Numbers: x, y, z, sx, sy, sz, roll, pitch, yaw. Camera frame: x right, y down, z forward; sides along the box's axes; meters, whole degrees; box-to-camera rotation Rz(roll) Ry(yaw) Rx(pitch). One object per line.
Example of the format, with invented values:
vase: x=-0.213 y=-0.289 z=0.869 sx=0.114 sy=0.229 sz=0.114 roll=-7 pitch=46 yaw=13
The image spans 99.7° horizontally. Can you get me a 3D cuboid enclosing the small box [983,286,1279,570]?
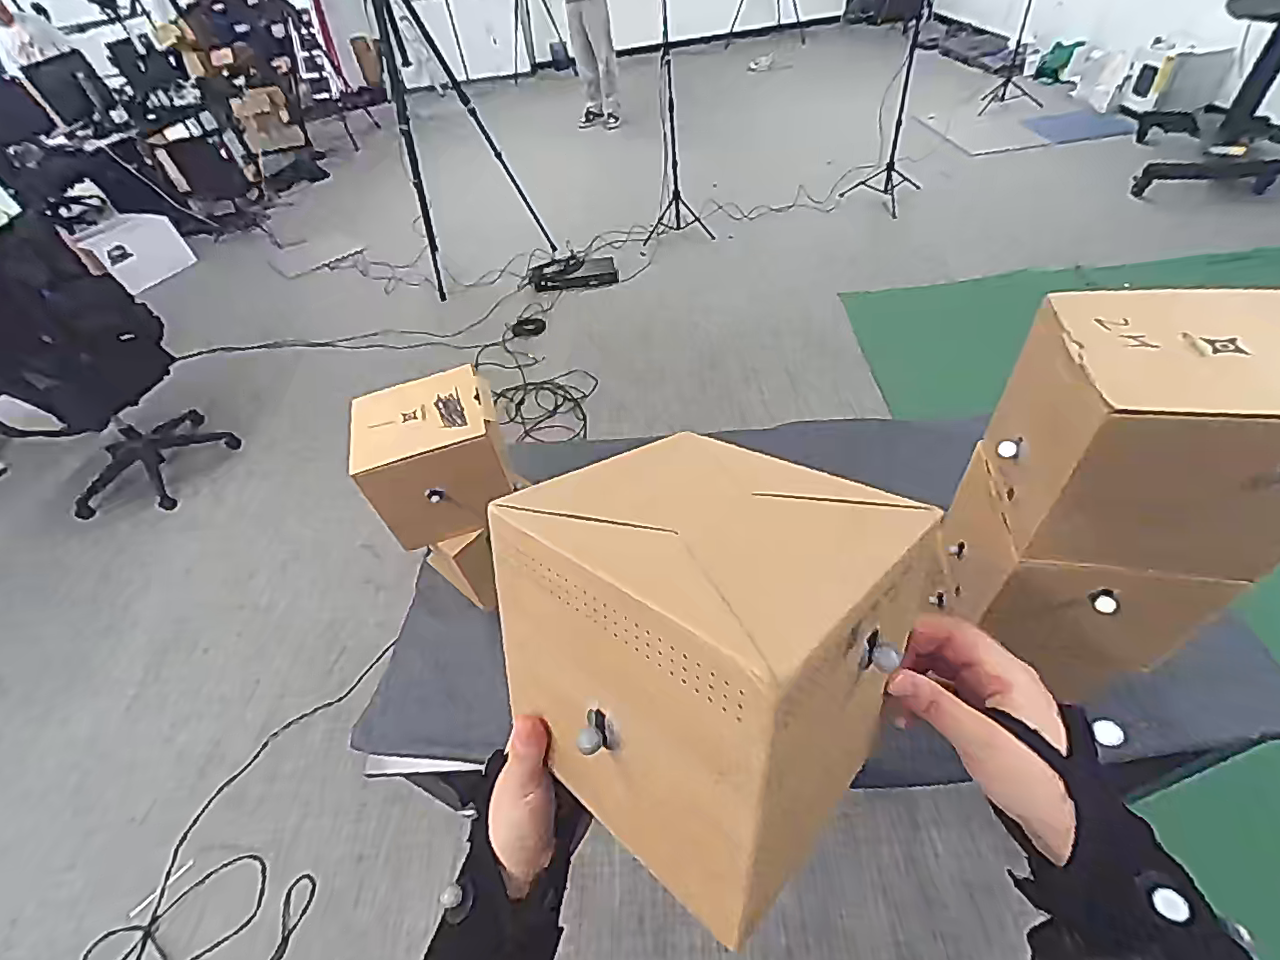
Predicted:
small box: x=0.421 y=-0.042 z=0.451 sx=0.179 sy=0.176 sz=0.168 roll=4 pitch=47 yaw=15

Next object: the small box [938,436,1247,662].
small box: x=0.439 y=0.073 z=0.568 sx=0.179 sy=0.176 sz=0.168 roll=3 pitch=47 yaw=14

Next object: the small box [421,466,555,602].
small box: x=-0.271 y=0.073 z=0.907 sx=0.179 sy=0.176 sz=0.168 roll=29 pitch=58 yaw=30

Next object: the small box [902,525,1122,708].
small box: x=0.459 y=0.173 z=0.695 sx=0.168 sy=0.176 sz=0.179 roll=-5 pitch=46 yaw=6

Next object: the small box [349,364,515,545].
small box: x=-0.291 y=-0.035 z=0.783 sx=0.179 sy=0.176 sz=0.168 roll=-18 pitch=48 yaw=-7
